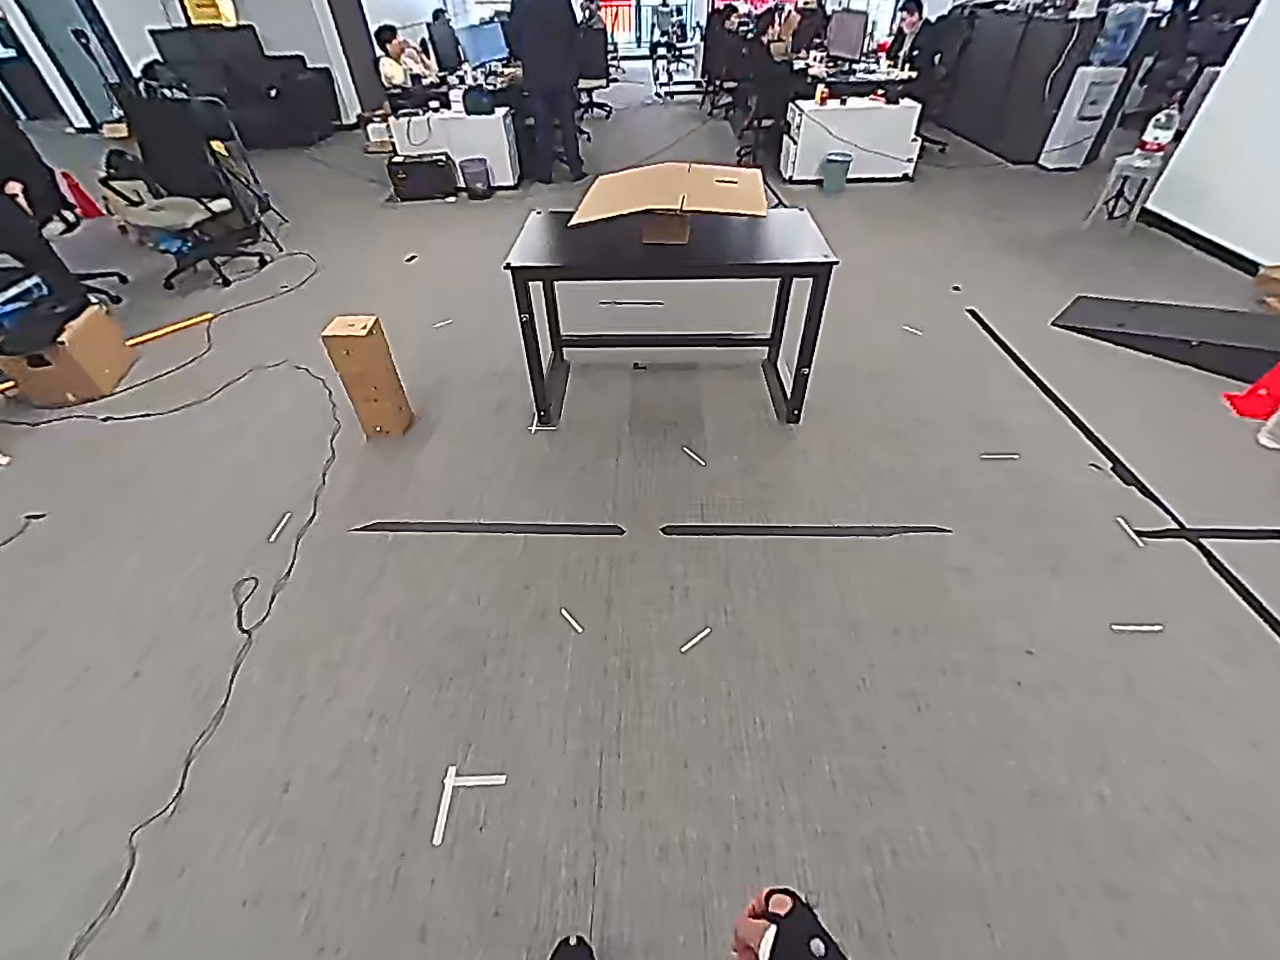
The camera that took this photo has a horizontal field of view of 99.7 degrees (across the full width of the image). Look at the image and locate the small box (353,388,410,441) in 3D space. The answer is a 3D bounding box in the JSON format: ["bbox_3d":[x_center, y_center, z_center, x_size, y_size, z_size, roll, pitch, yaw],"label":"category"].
[{"bbox_3d":[-1.159,-0.297,2.440,0.168,0.176,0.179,-3,44,-1],"label":"small box"}]

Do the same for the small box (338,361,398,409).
[{"bbox_3d":[-1.166,-0.419,2.333,0.168,0.176,0.179,-4,42,-5],"label":"small box"}]

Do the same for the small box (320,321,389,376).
[{"bbox_3d":[-1.165,-0.537,2.219,0.179,0.176,0.168,-3,43,-1],"label":"small box"}]
